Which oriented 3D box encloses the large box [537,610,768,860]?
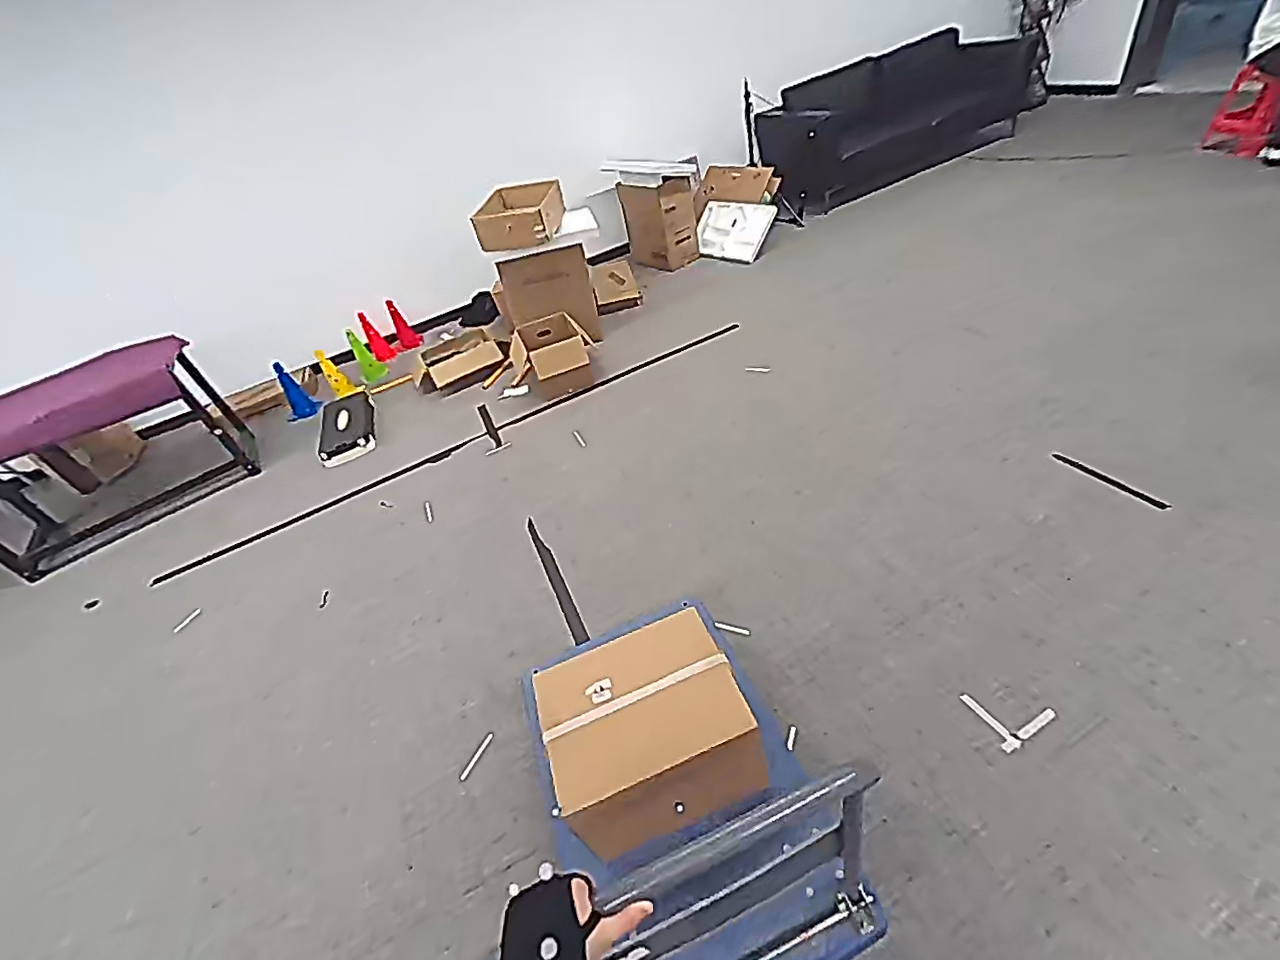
[{"bbox_3d":[0.031,0.573,1.230,0.408,0.320,0.320,-23,39,-6],"label":"large box"}]
